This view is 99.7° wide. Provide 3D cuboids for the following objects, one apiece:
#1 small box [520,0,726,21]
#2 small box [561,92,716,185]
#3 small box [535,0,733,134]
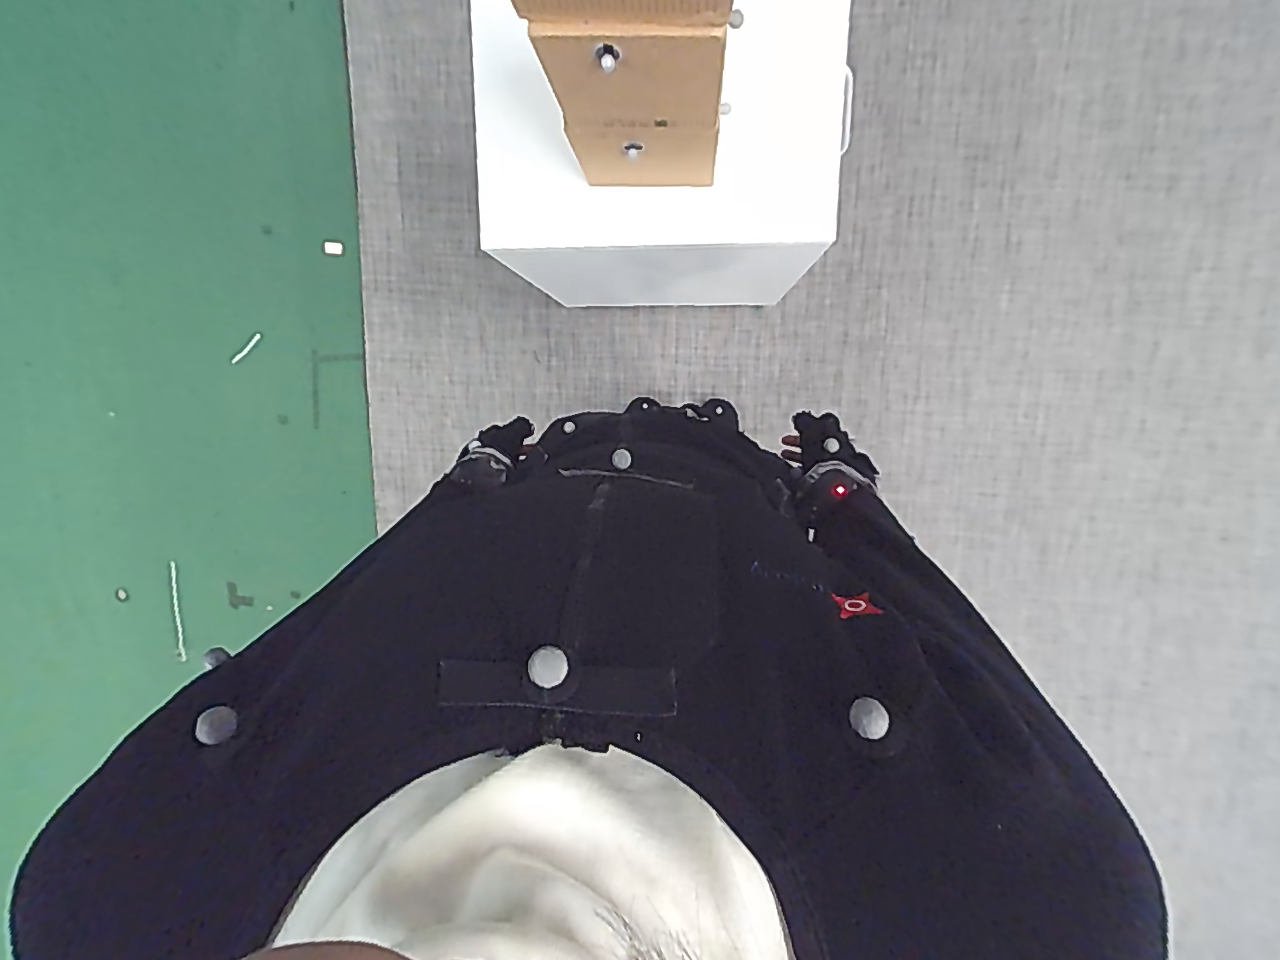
[{"bbox_3d":[-0.017,-0.441,0.349,0.179,0.176,0.168,5,101,4],"label":"small box"},{"bbox_3d":[0.008,-0.484,0.671,0.179,0.176,0.168,3,99,4],"label":"small box"},{"bbox_3d":[0.000,-0.462,0.512,0.168,0.176,0.179,2,100,4],"label":"small box"}]
